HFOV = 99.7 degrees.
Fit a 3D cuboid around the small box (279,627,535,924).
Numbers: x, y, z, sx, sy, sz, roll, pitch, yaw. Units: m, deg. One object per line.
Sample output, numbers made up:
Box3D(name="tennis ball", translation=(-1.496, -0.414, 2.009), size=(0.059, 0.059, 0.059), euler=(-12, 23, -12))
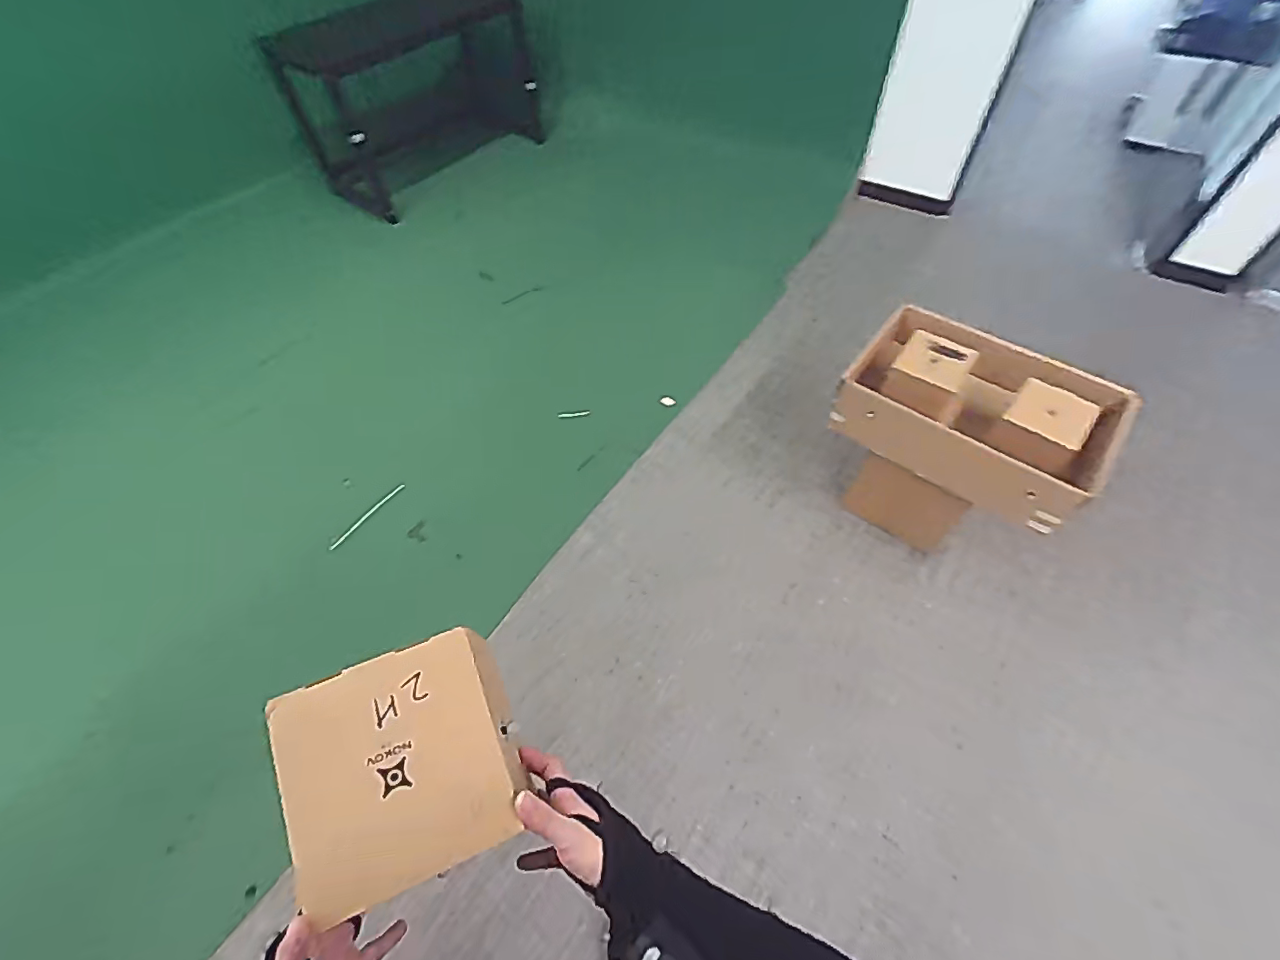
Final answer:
Box3D(name="small box", translation=(-0.204, 0.259, 0.515), size=(0.168, 0.176, 0.179), euler=(-17, 70, -14))
